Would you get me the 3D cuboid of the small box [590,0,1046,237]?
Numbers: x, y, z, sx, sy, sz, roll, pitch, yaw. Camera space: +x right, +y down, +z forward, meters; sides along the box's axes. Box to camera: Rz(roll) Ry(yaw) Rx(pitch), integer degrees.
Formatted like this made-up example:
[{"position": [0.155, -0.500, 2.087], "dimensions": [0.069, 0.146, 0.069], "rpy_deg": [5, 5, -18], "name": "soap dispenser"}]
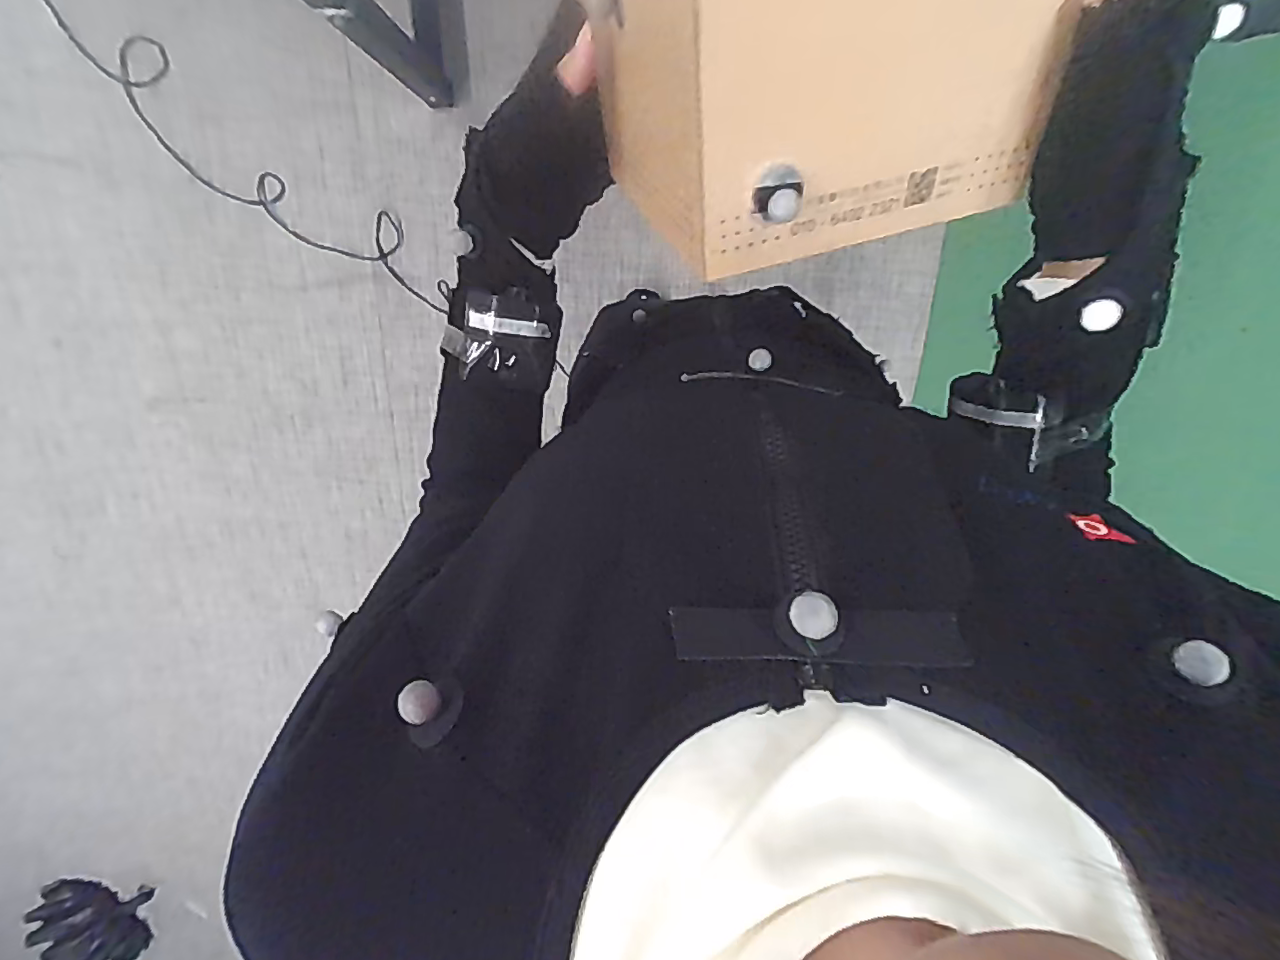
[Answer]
[{"position": [0.073, -0.237, 0.266], "dimensions": [0.168, 0.179, 0.176], "rpy_deg": [-17, 135, -8], "name": "small box"}]
